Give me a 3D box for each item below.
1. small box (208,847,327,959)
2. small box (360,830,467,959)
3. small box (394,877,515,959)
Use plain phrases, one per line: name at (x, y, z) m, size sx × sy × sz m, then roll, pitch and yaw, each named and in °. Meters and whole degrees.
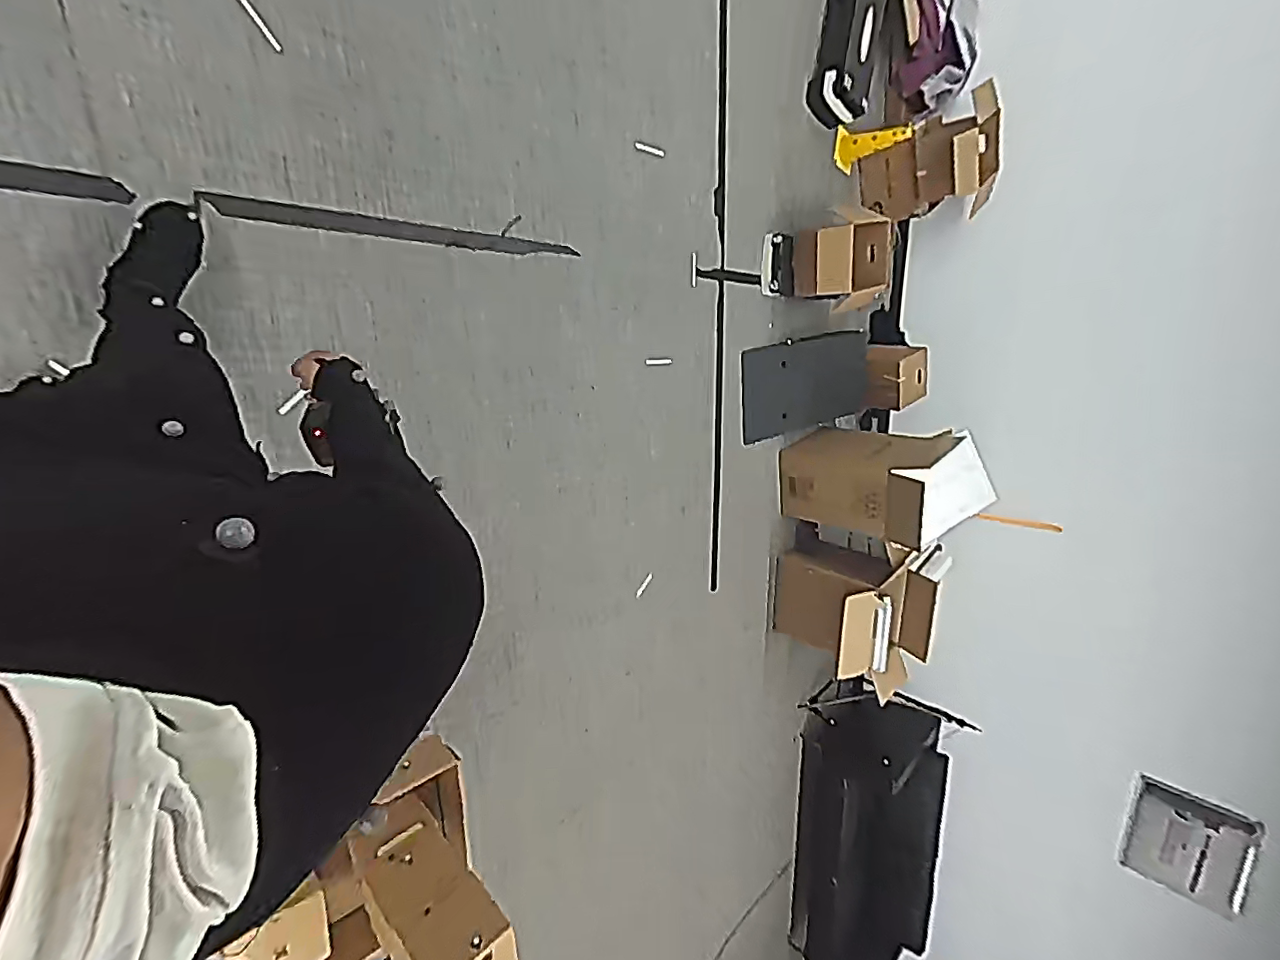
small box at (-0.764, 0.916, 1.111) m, size 0.168 × 0.176 × 0.179 m, roll -11°, pitch 108°, yaw -45°
small box at (-0.479, 0.912, 1.163) m, size 0.168 × 0.176 × 0.179 m, roll -17°, pitch 112°, yaw -42°
small box at (-0.358, 0.941, 1.054) m, size 0.168 × 0.176 × 0.179 m, roll -17°, pitch 113°, yaw -42°
